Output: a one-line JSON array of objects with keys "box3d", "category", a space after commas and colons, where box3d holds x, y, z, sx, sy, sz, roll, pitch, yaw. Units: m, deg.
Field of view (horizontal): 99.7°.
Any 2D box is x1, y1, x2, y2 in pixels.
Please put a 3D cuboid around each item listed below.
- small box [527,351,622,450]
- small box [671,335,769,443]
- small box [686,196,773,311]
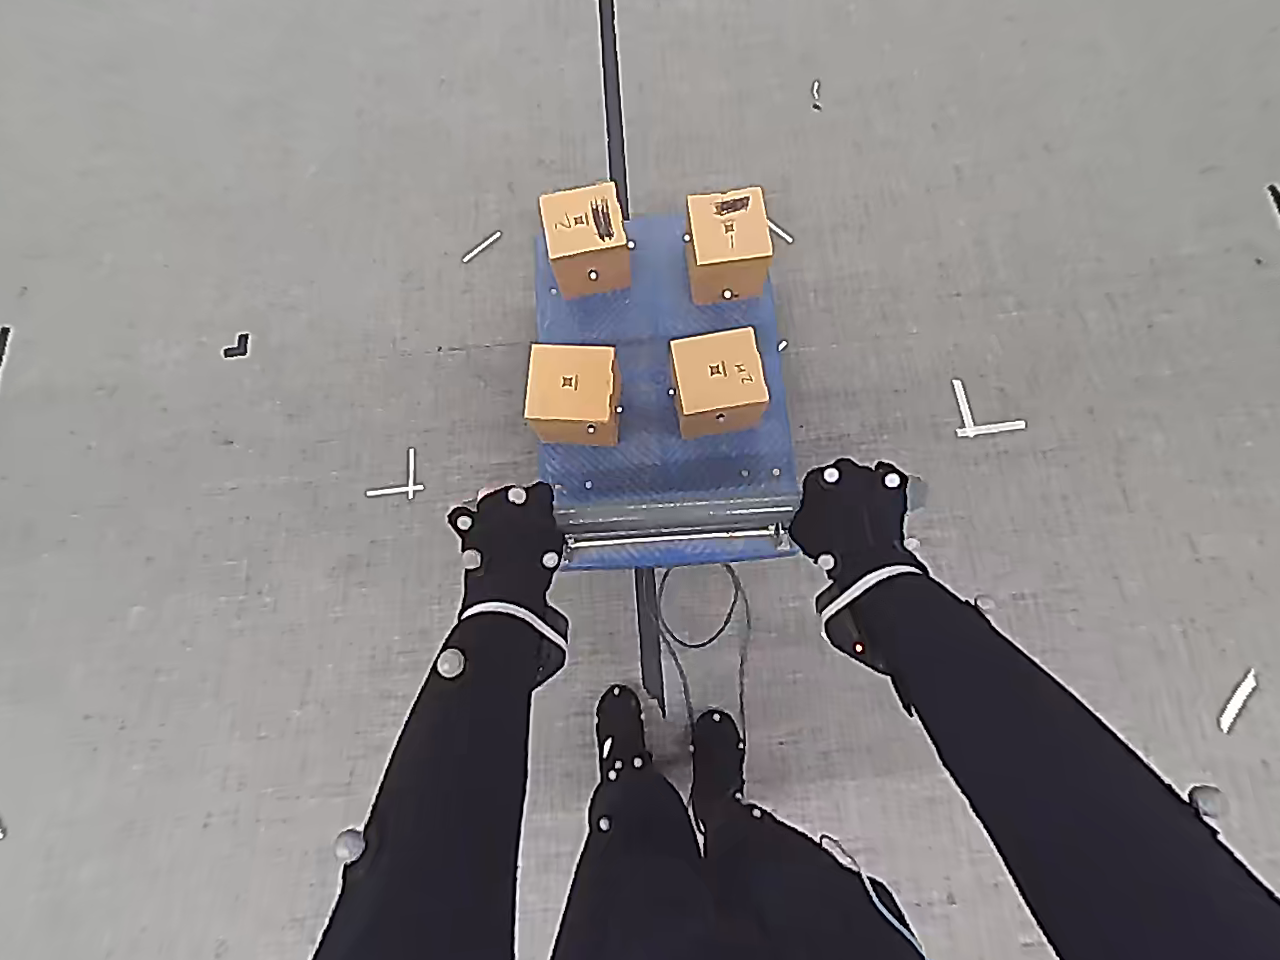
[{"box3d": [-0.137, -0.167, 1.187, 0.179, 0.176, 0.168, 2, 76, 2], "category": "small box"}, {"box3d": [0.167, -0.190, 1.176, 0.179, 0.176, 0.168, -9, 76, 1], "category": "small box"}, {"box3d": [0.200, -0.519, 1.254, 0.168, 0.176, 0.179, -7, 77, 2], "category": "small box"}]
